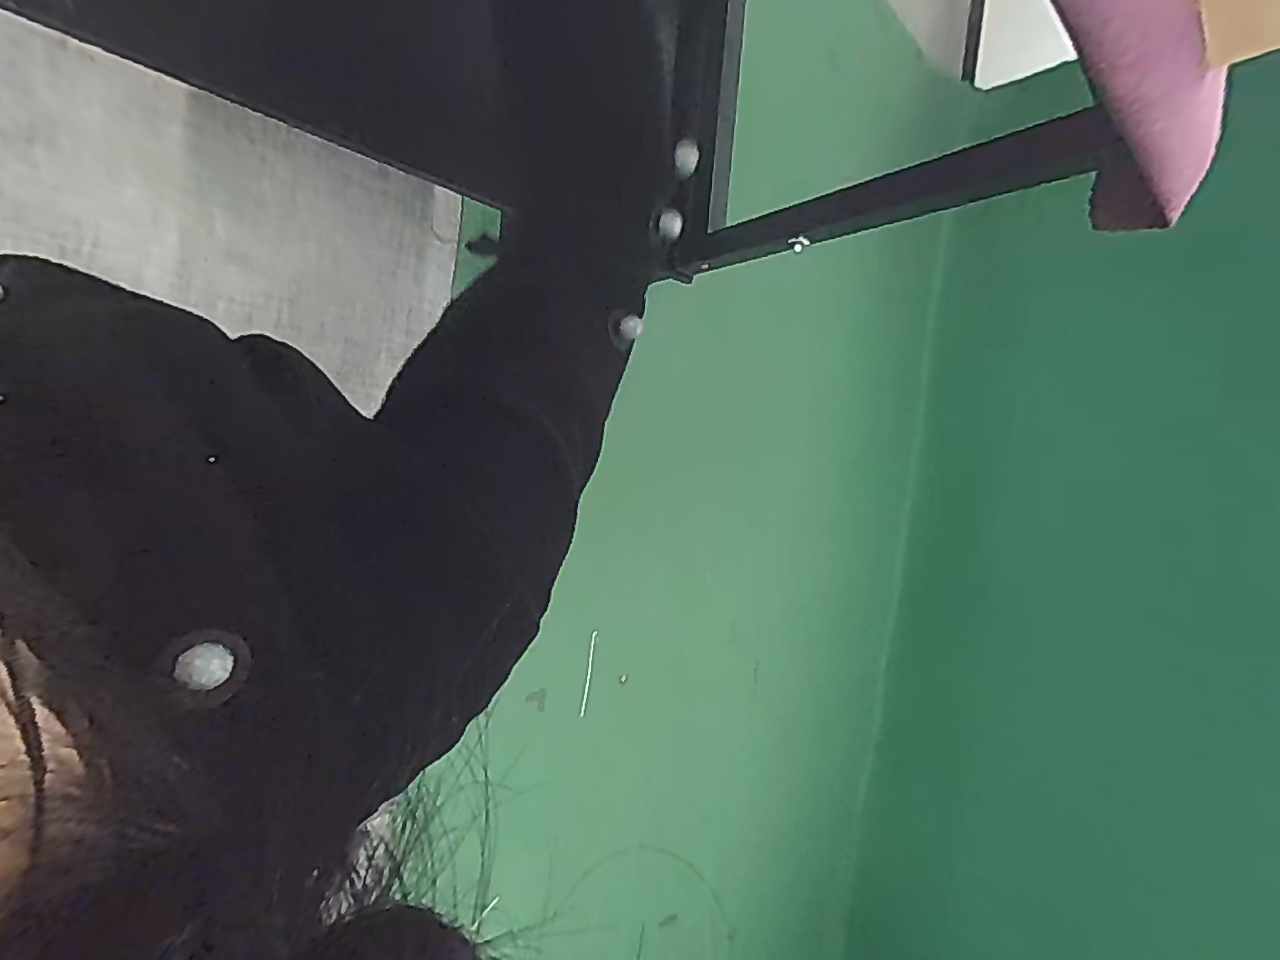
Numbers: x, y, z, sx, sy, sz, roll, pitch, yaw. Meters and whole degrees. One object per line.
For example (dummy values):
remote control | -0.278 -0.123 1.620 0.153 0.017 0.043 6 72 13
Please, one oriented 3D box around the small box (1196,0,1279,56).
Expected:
small box | 0.510 -0.444 0.371 0.179 0.176 0.168 5 93 -40
